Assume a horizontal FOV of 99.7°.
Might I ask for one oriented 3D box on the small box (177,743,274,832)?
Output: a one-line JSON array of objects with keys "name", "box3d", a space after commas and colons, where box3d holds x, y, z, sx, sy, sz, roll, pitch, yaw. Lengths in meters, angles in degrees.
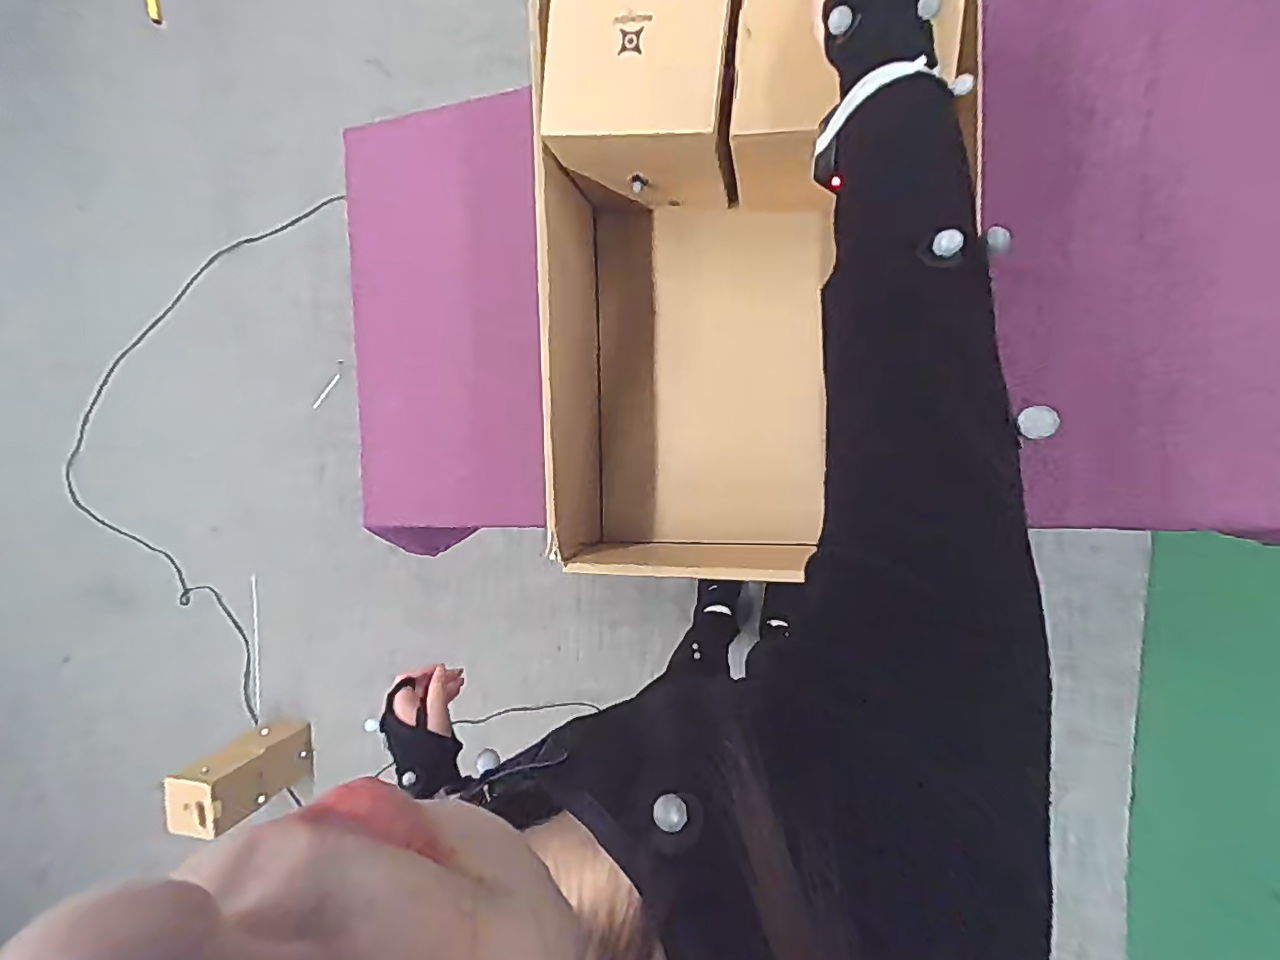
[{"name": "small box", "box3d": [-1.243, 0.920, 1.635, 0.179, 0.176, 0.168, -2, 92, 17]}]
